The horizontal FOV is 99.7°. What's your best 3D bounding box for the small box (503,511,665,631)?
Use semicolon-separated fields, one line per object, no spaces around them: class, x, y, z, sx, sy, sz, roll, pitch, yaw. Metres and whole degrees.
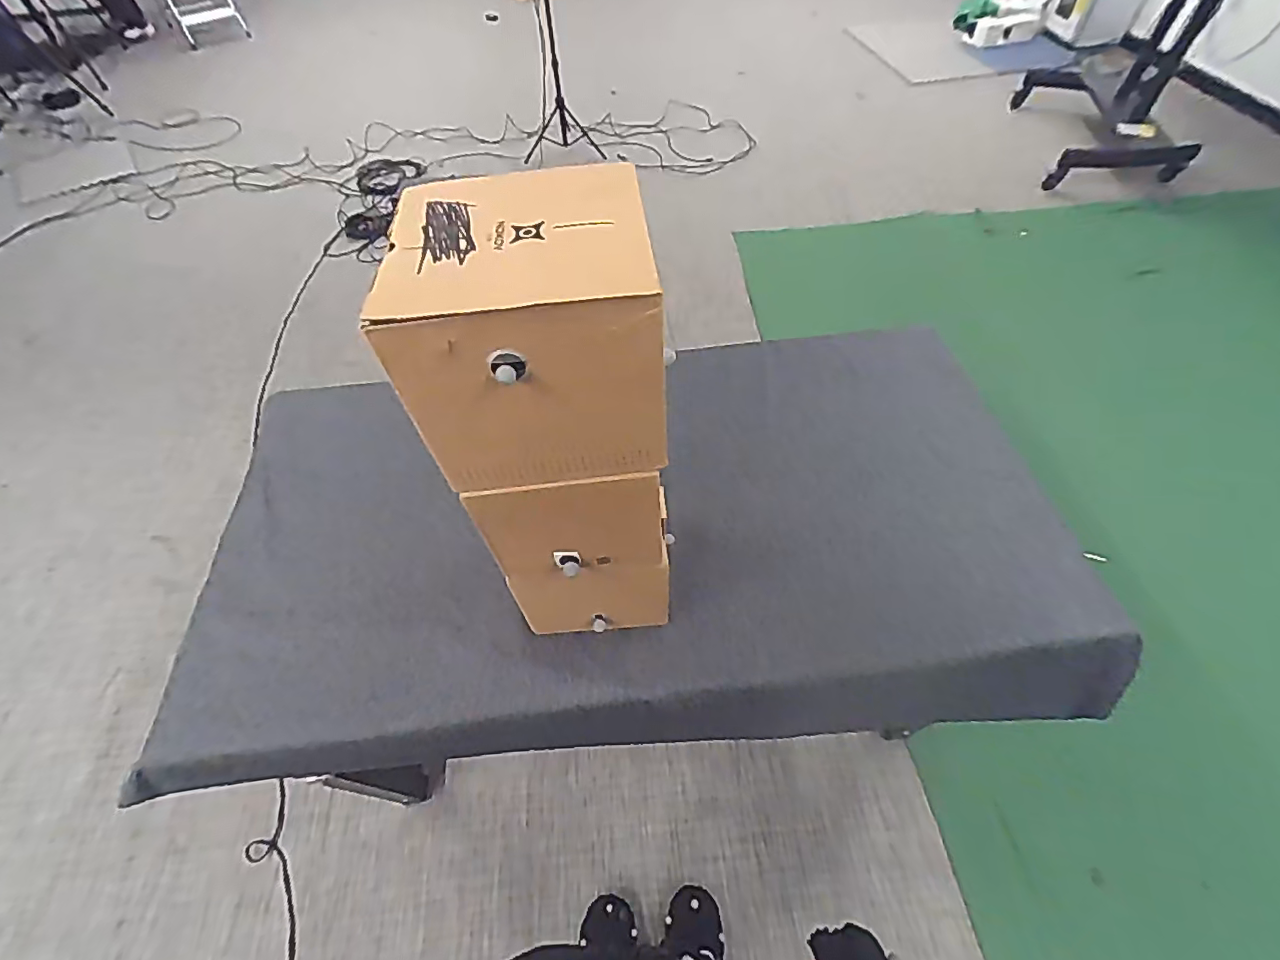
small box;-0.065;0.082;0.689;0.179;0.176;0.168;-4;54;-2

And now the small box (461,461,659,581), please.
small box;-0.072;-0.016;0.559;0.168;0.176;0.179;-7;55;-1

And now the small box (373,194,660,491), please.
small box;-0.080;-0.102;0.439;0.179;0.176;0.168;-6;54;-1
